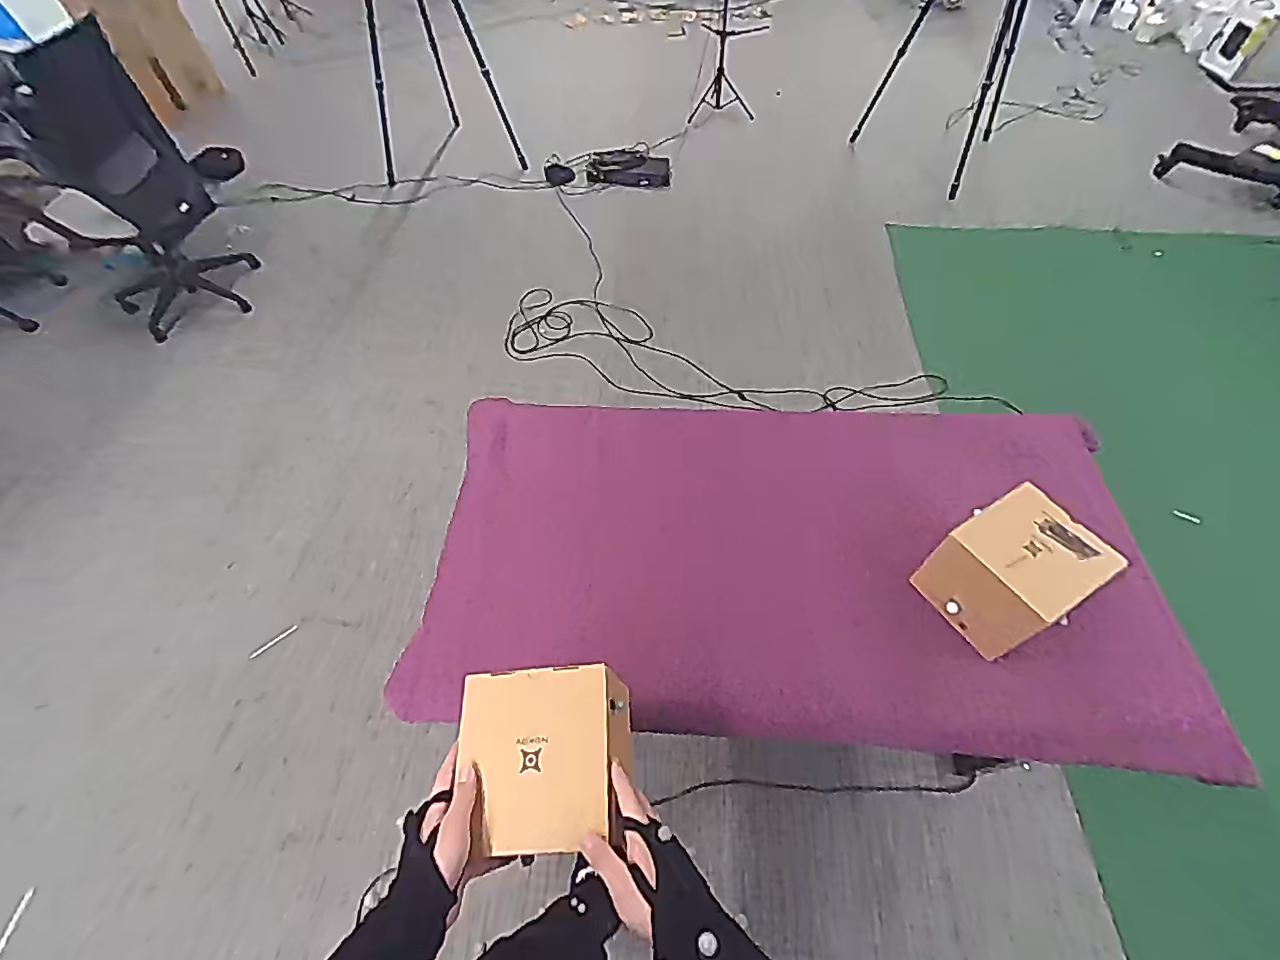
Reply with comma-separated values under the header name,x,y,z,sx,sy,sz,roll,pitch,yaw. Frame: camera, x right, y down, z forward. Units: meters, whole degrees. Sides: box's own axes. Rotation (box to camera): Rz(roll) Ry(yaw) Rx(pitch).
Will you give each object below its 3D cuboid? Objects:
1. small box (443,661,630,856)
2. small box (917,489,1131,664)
name,x,y,z,sx,sy,sz,roll,pitch,yaw
small box,-0.106,0.324,0.633,0.168,0.176,0.179,-6,59,5
small box,0.569,0.151,0.829,0.179,0.176,0.168,-27,58,-15
